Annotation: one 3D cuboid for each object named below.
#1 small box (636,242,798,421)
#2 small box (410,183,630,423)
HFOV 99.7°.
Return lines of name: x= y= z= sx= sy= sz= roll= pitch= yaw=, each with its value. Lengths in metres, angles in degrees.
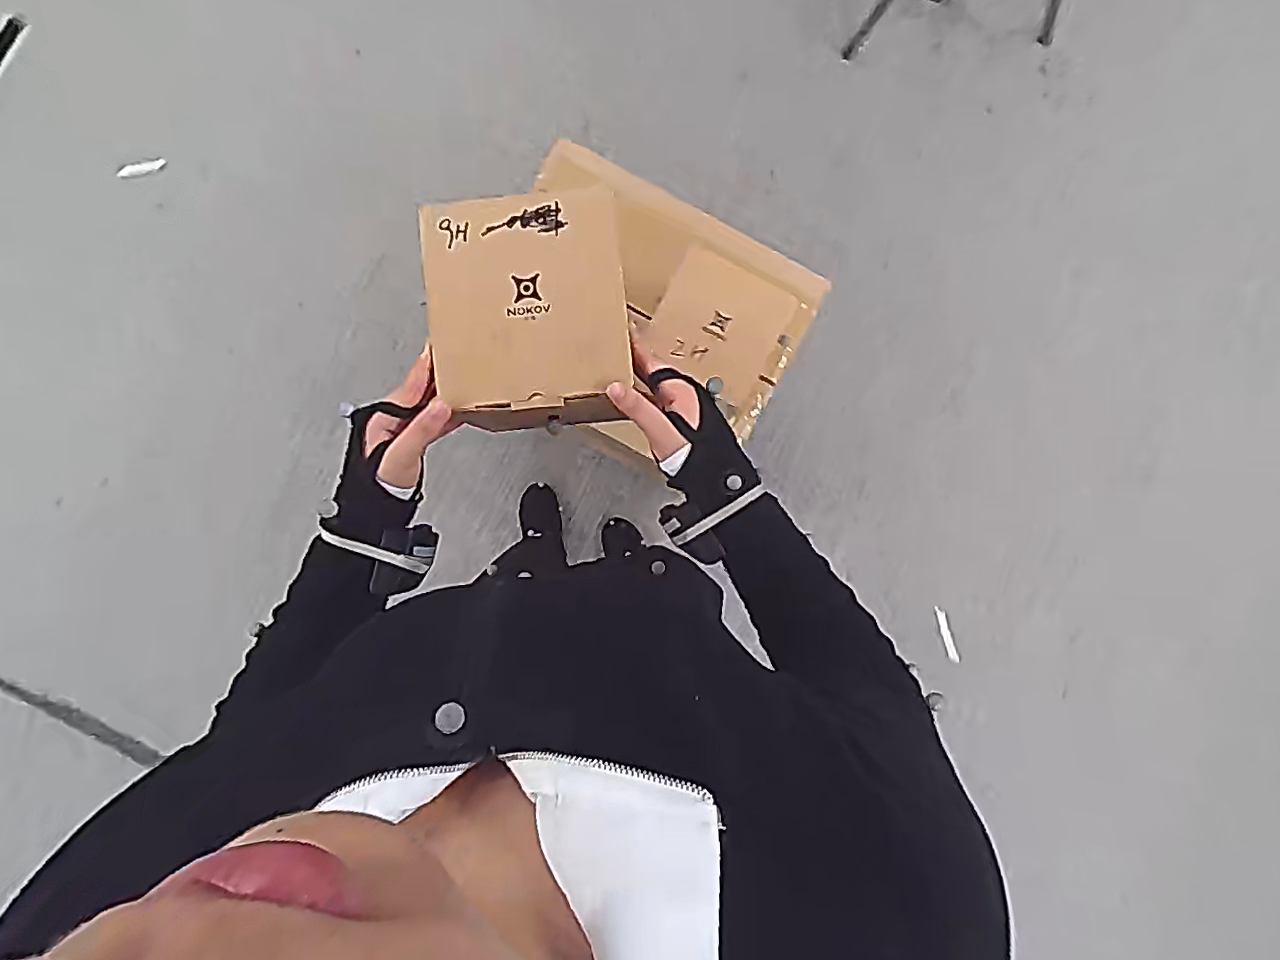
small box: x=0.103 y=-0.208 z=0.809 sx=0.168 sy=0.176 sz=0.179 roll=29 pitch=89 yaw=2
small box: x=-0.101 y=-0.153 z=0.530 sx=0.168 sy=0.176 sz=0.179 roll=-7 pitch=90 yaw=-1
